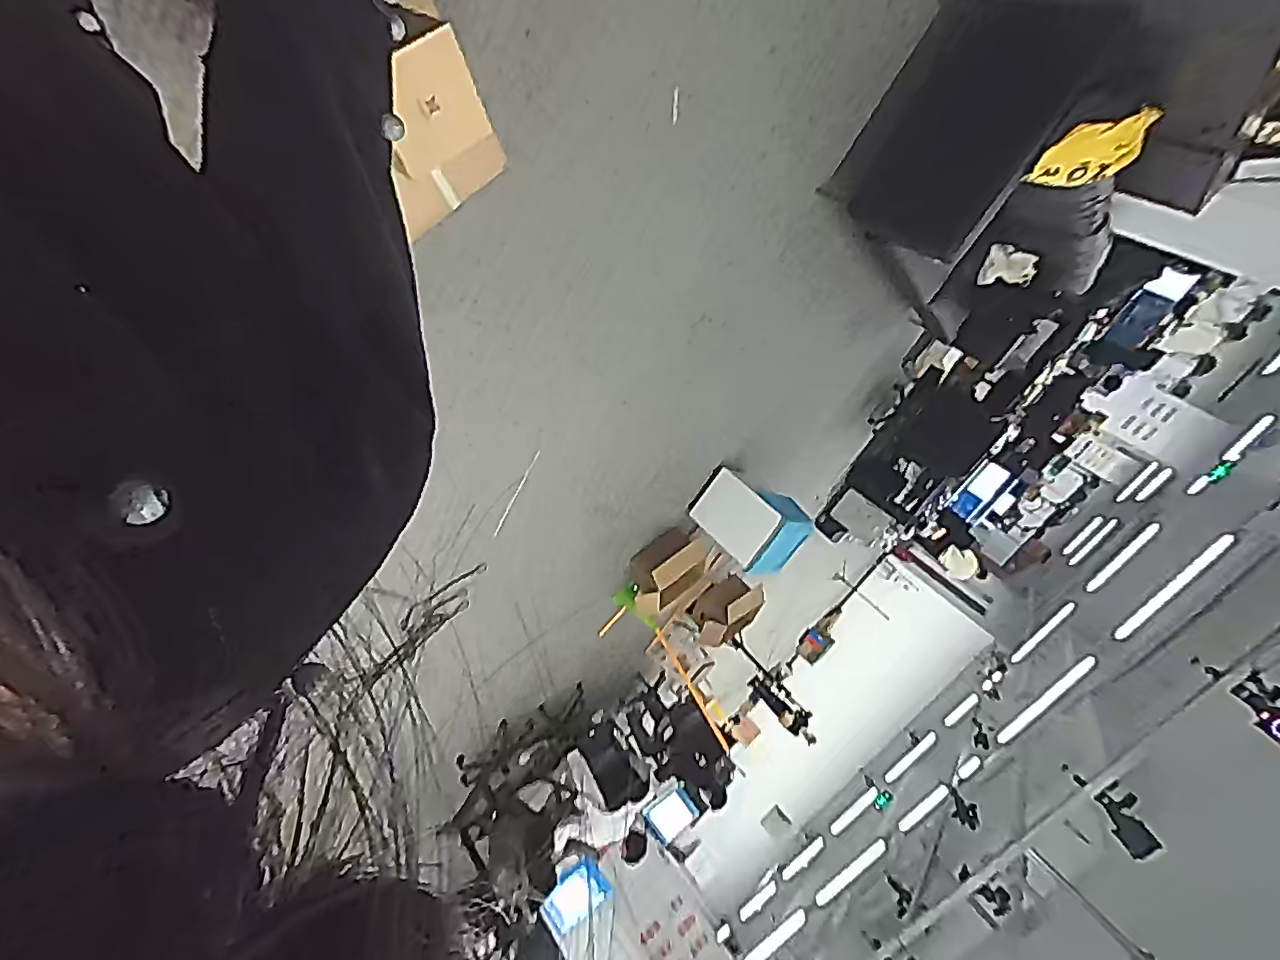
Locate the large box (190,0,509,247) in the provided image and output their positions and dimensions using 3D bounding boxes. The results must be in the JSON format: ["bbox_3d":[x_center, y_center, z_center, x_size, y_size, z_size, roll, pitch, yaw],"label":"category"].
[{"bbox_3d":[-0.540,-0.765,1.063,0.320,0.320,0.408,-42,152,-8],"label":"large box"}]

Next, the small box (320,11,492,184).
[{"bbox_3d":[-0.390,-0.644,0.907,0.179,0.176,0.168,-41,150,-12],"label":"small box"}]
